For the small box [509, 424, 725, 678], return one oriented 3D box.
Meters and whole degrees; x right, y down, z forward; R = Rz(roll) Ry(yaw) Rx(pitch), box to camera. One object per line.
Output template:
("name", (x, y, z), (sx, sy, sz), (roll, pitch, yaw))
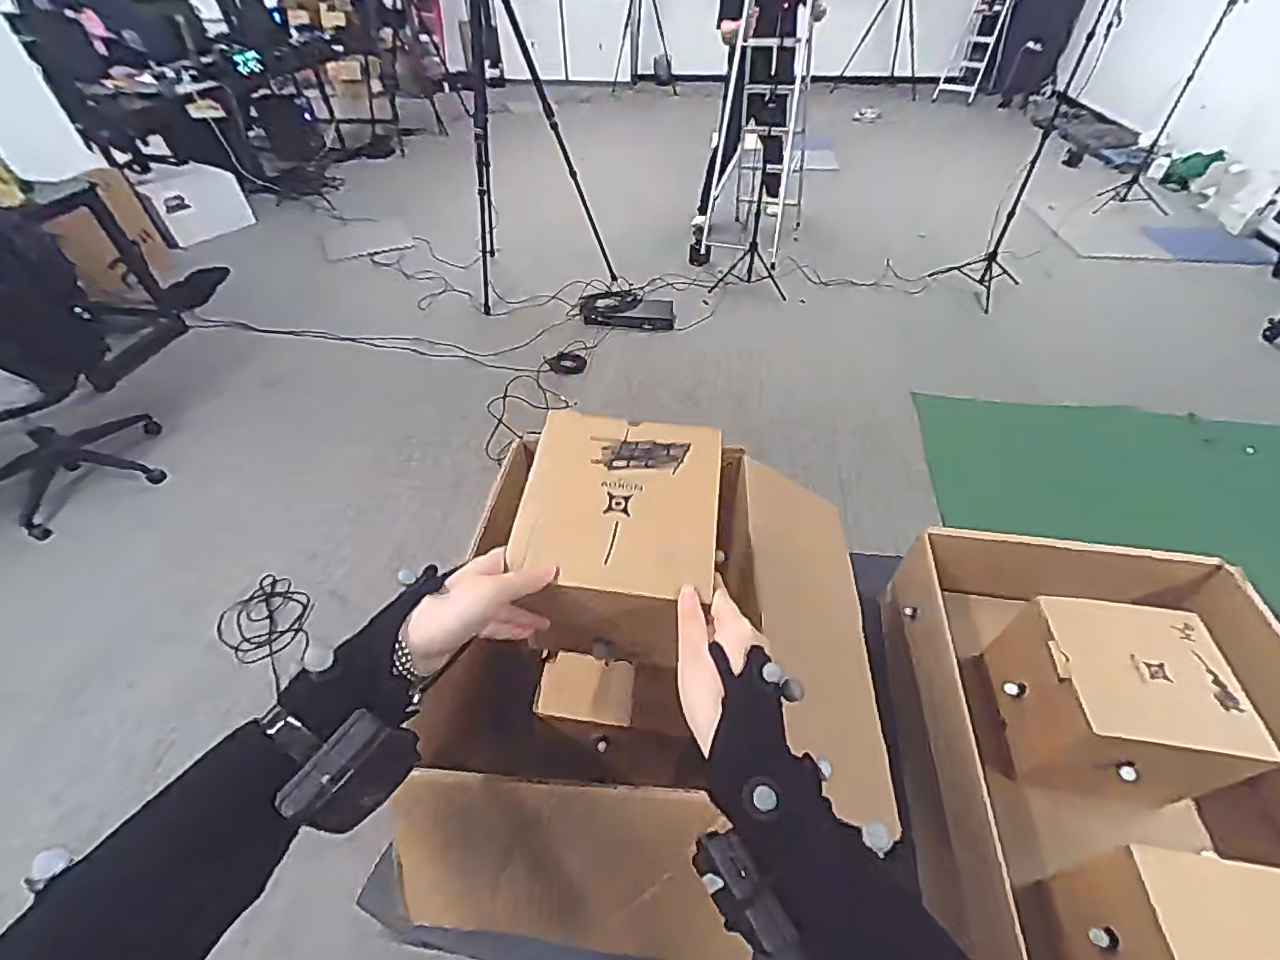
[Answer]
("small box", (-0.015, 0.073, 0.532), (0.168, 0.176, 0.179), (8, 54, 4))
